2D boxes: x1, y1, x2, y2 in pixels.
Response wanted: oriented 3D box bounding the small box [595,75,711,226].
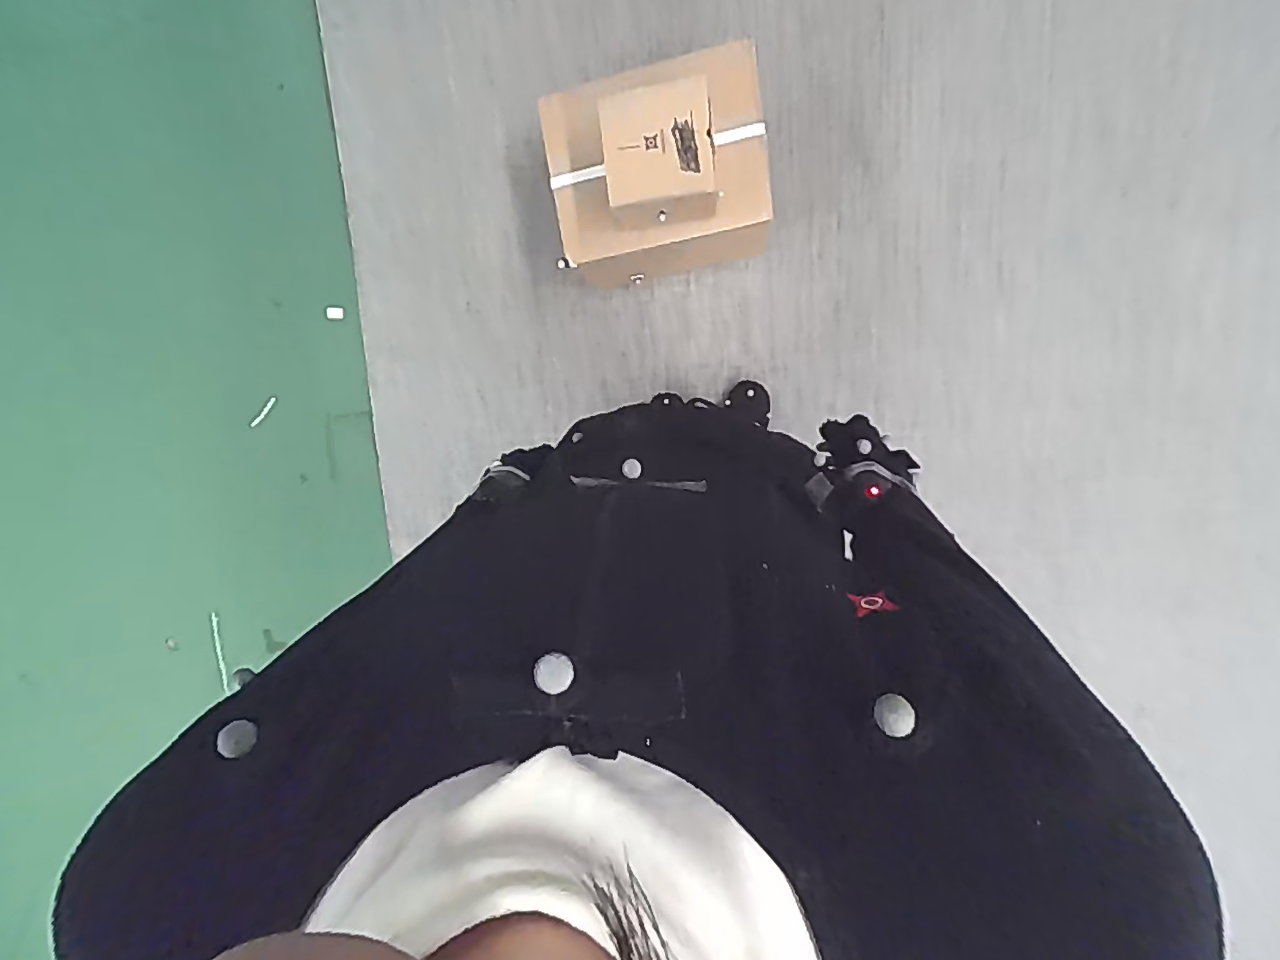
[{"bbox_3d":[0.031,-0.555,0.936,0.179,0.176,0.168,-4,101,10],"label":"small box"}]
